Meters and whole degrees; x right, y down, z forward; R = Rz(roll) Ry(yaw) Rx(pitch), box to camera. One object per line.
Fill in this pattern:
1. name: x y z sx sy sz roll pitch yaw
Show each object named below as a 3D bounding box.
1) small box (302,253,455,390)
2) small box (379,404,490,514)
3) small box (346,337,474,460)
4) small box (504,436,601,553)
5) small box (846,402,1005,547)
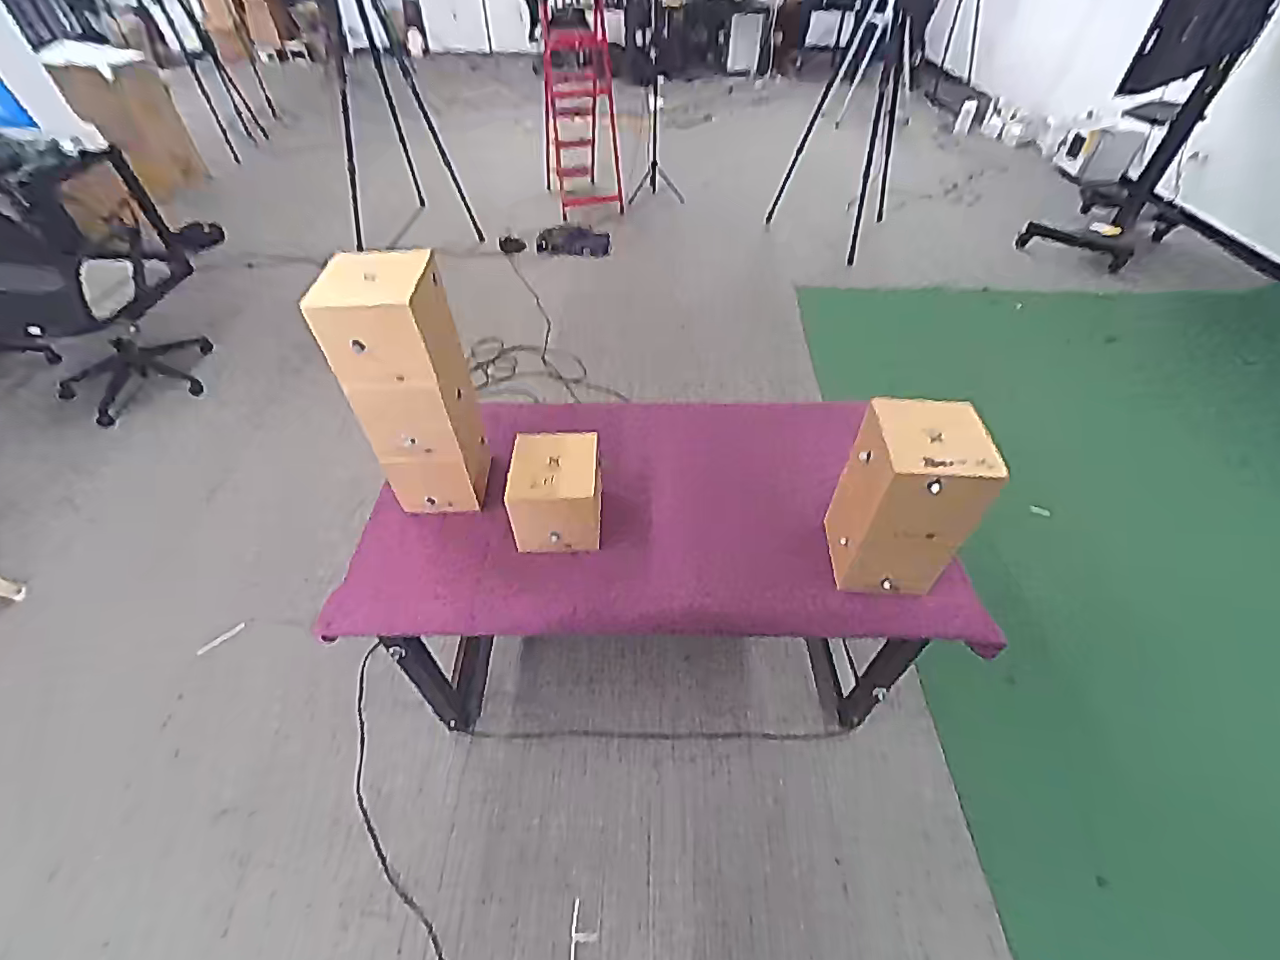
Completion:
1. small box: -0.431 -0.267 0.929 0.168 0.176 0.179 -3 47 -1
2. small box: -0.431 -0.045 1.167 0.168 0.176 0.179 -2 48 -1
3. small box: -0.430 -0.157 1.048 0.168 0.176 0.179 -2 48 -1
4. small box: -0.168 0.028 1.099 0.168 0.176 0.179 -1 47 0
5. small box: 0.459 -0.010 0.907 0.168 0.176 0.179 3 46 4
